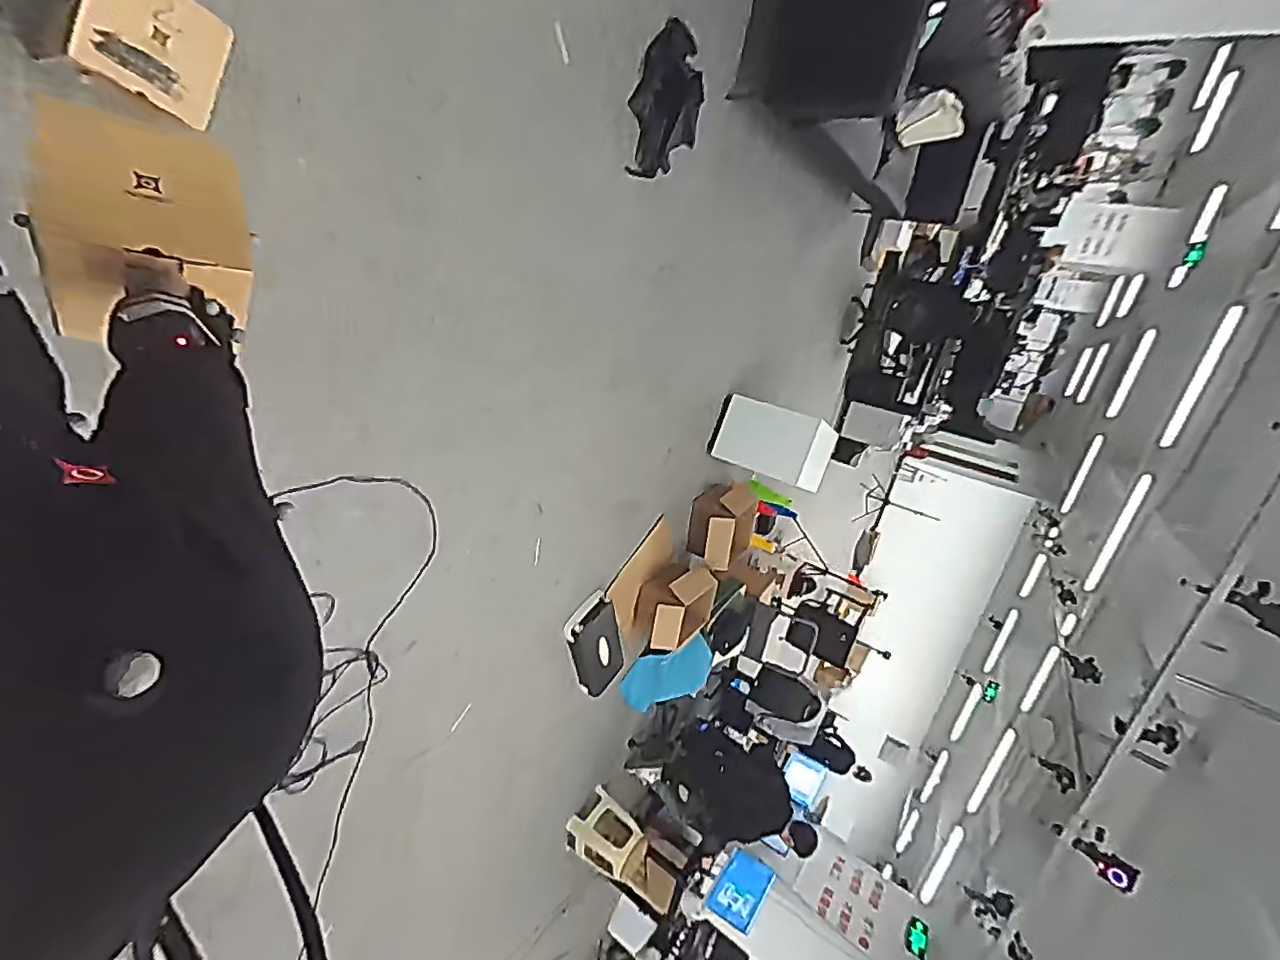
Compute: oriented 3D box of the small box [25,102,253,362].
[{"bbox_3d":[-0.554,-0.257,0.605,0.168,0.176,0.179,-6,71,-43],"label":"small box"}]
